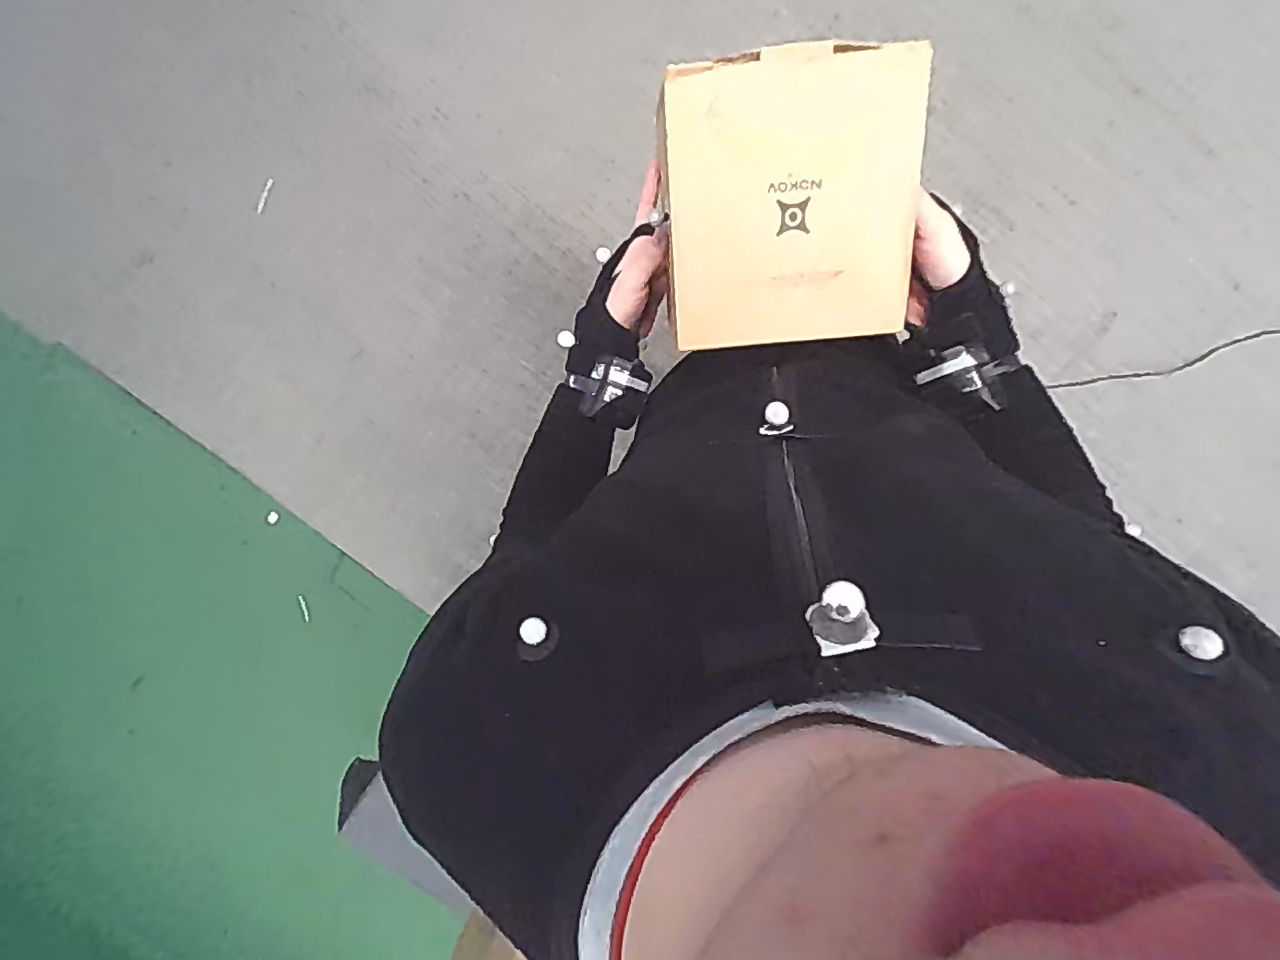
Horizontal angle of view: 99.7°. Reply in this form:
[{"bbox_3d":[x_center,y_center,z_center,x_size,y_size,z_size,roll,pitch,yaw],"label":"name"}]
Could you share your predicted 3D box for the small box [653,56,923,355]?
[{"bbox_3d":[0.099,-0.210,0.440,0.168,0.176,0.179,-4,115,1],"label":"small box"}]
